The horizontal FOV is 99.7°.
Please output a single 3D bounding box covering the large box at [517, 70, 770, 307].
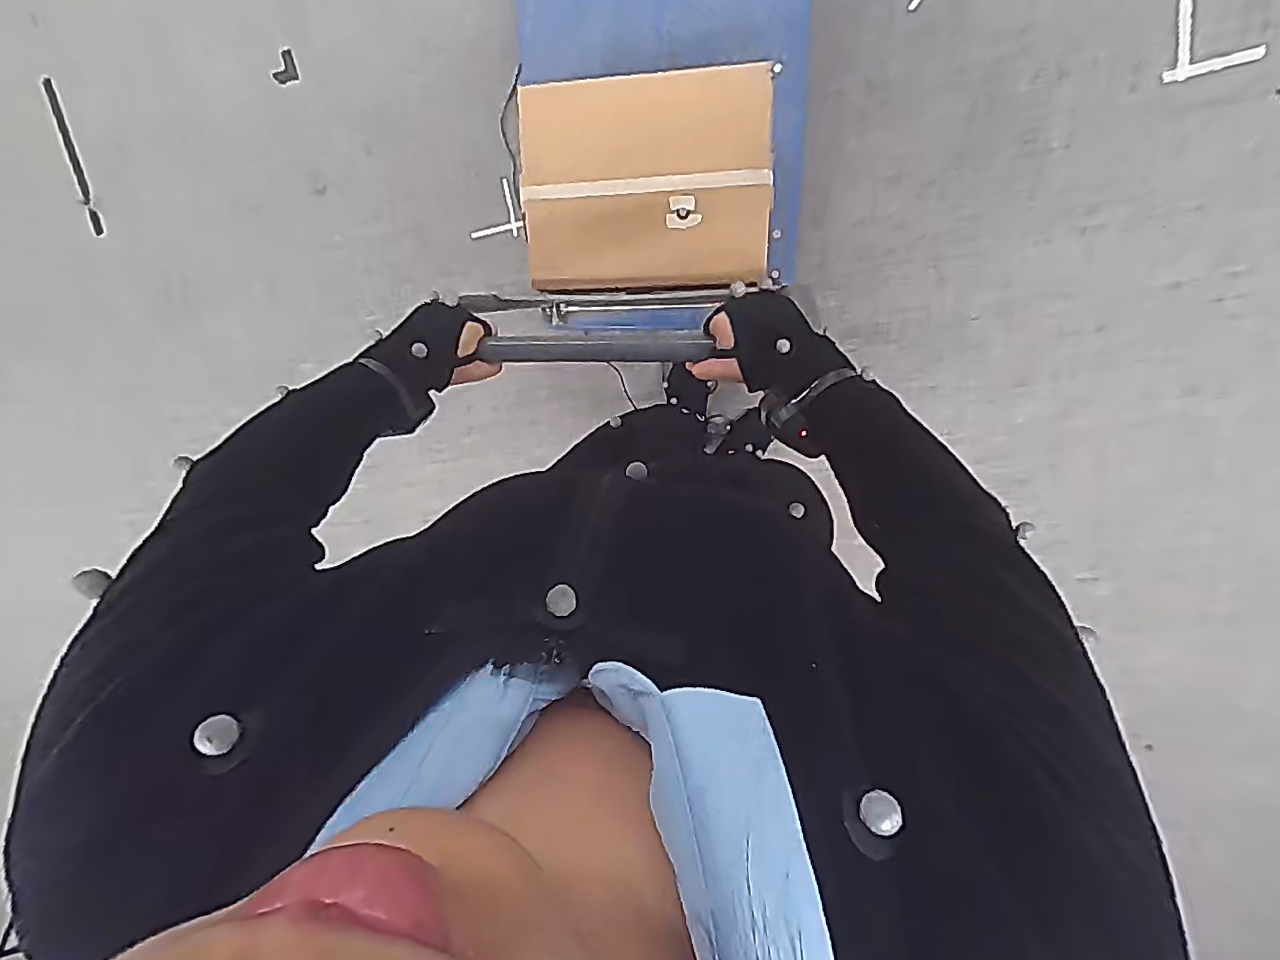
[{"bbox_3d":[0.023,-0.503,1.016,0.408,0.320,0.320,1,106,8],"label":"large box"}]
